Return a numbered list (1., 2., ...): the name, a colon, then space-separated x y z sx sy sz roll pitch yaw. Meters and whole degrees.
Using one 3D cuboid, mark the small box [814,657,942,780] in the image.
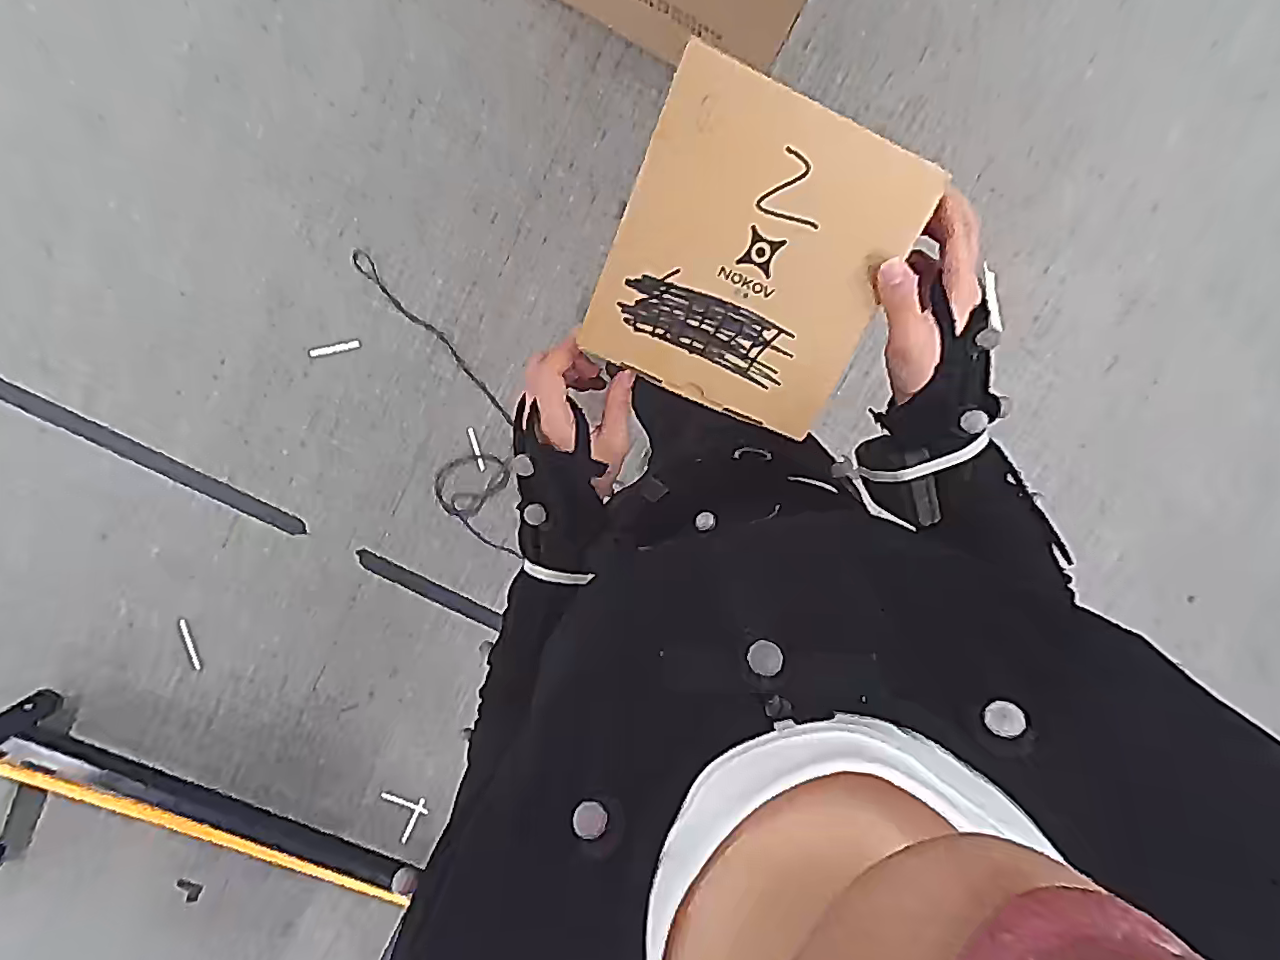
1. small box: 0.536 0.538 1.241 0.179 0.176 0.168 25 98 -7
